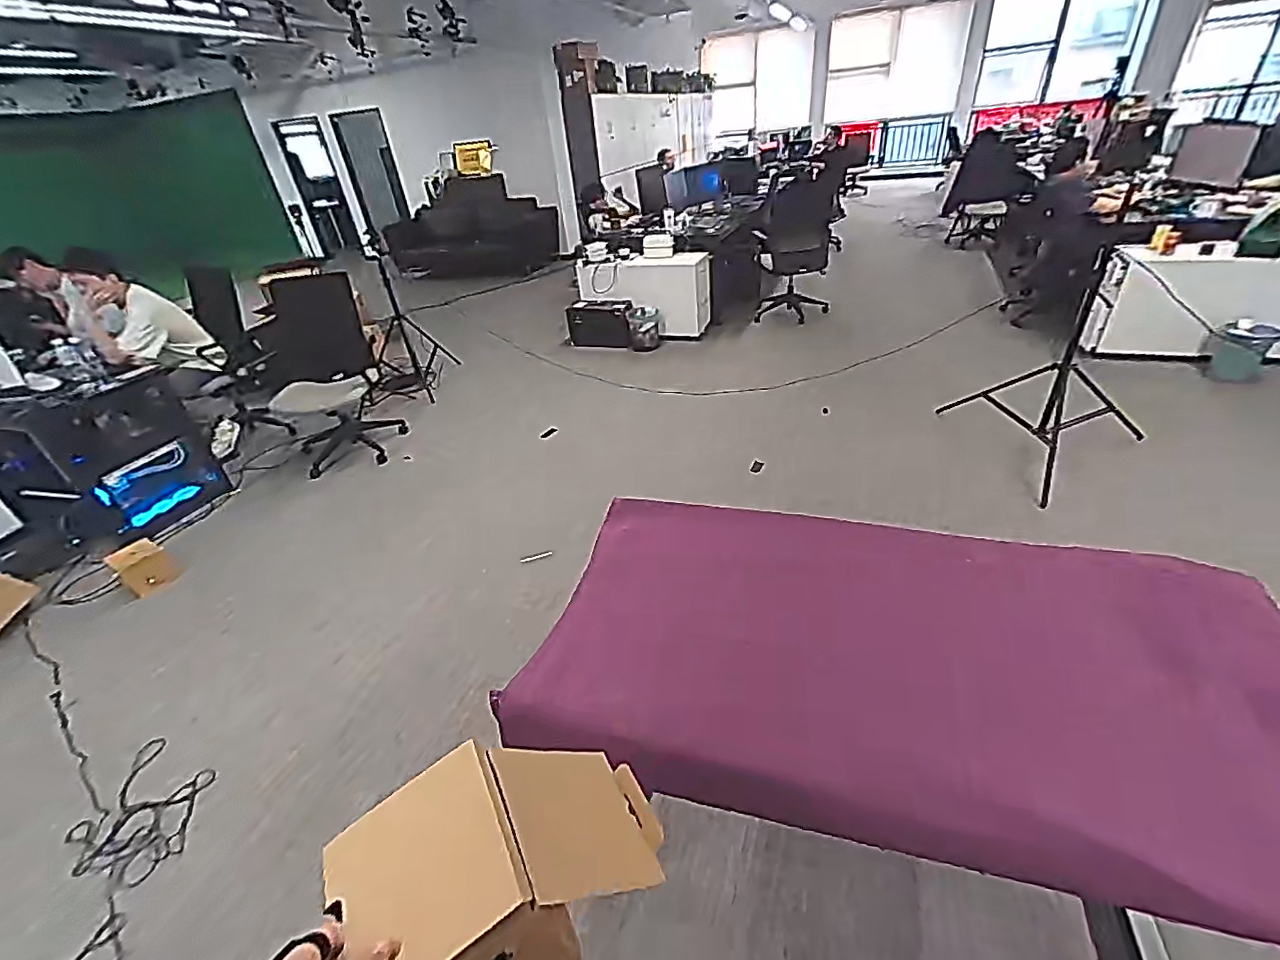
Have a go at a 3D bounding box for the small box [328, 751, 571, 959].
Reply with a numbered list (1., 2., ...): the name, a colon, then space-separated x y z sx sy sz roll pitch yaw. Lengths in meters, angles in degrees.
1. small box: -0.182 0.424 0.544 0.179 0.176 0.168 -26 37 -17
